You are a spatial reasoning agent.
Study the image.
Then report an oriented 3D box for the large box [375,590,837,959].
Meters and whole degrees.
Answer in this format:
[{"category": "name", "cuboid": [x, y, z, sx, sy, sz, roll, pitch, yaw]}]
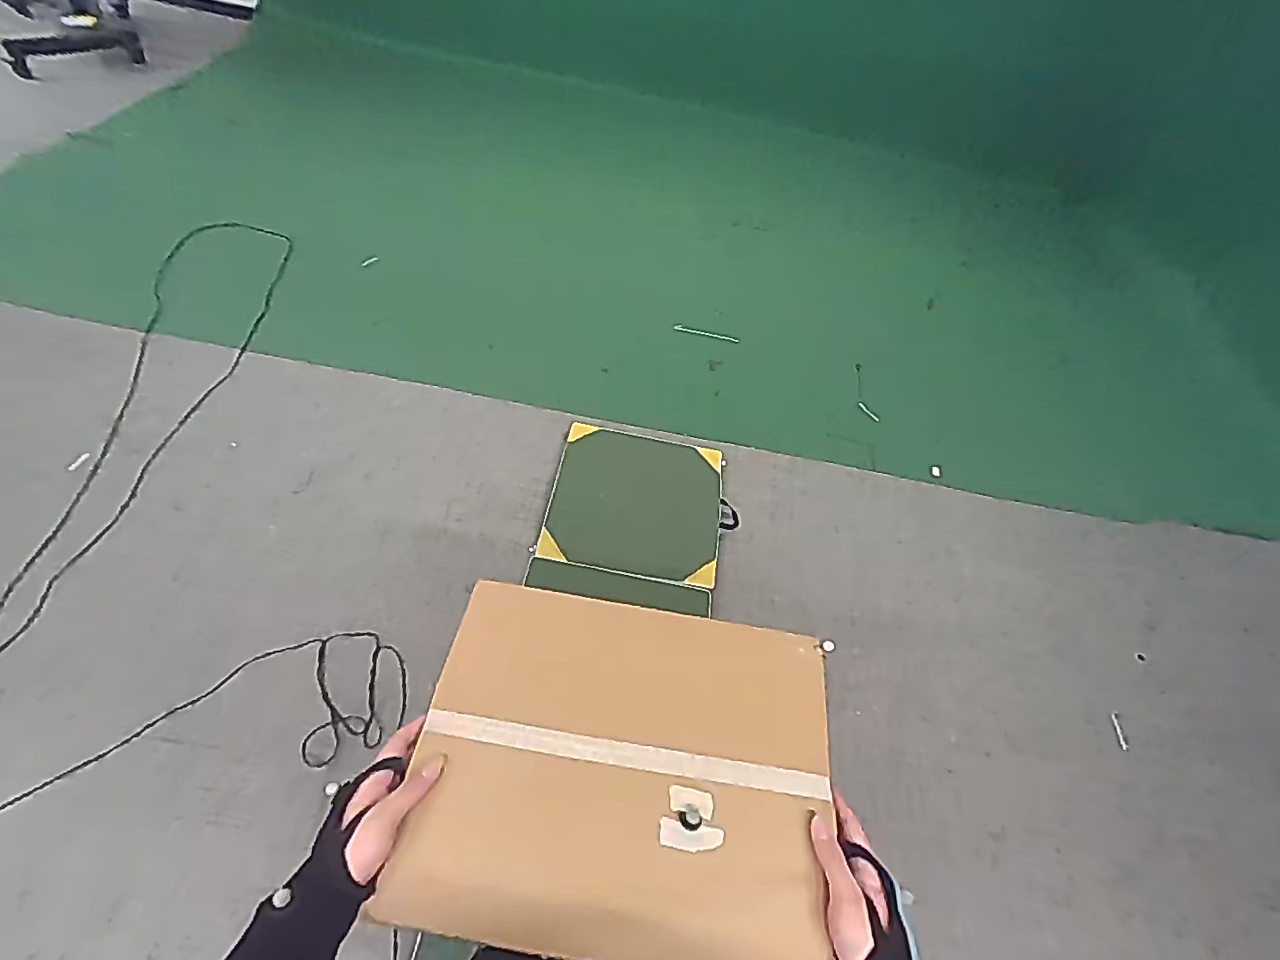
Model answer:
[{"category": "large box", "cuboid": [-0.027, 0.368, 0.660, 0.408, 0.320, 0.320, 10, 52, 1]}]
